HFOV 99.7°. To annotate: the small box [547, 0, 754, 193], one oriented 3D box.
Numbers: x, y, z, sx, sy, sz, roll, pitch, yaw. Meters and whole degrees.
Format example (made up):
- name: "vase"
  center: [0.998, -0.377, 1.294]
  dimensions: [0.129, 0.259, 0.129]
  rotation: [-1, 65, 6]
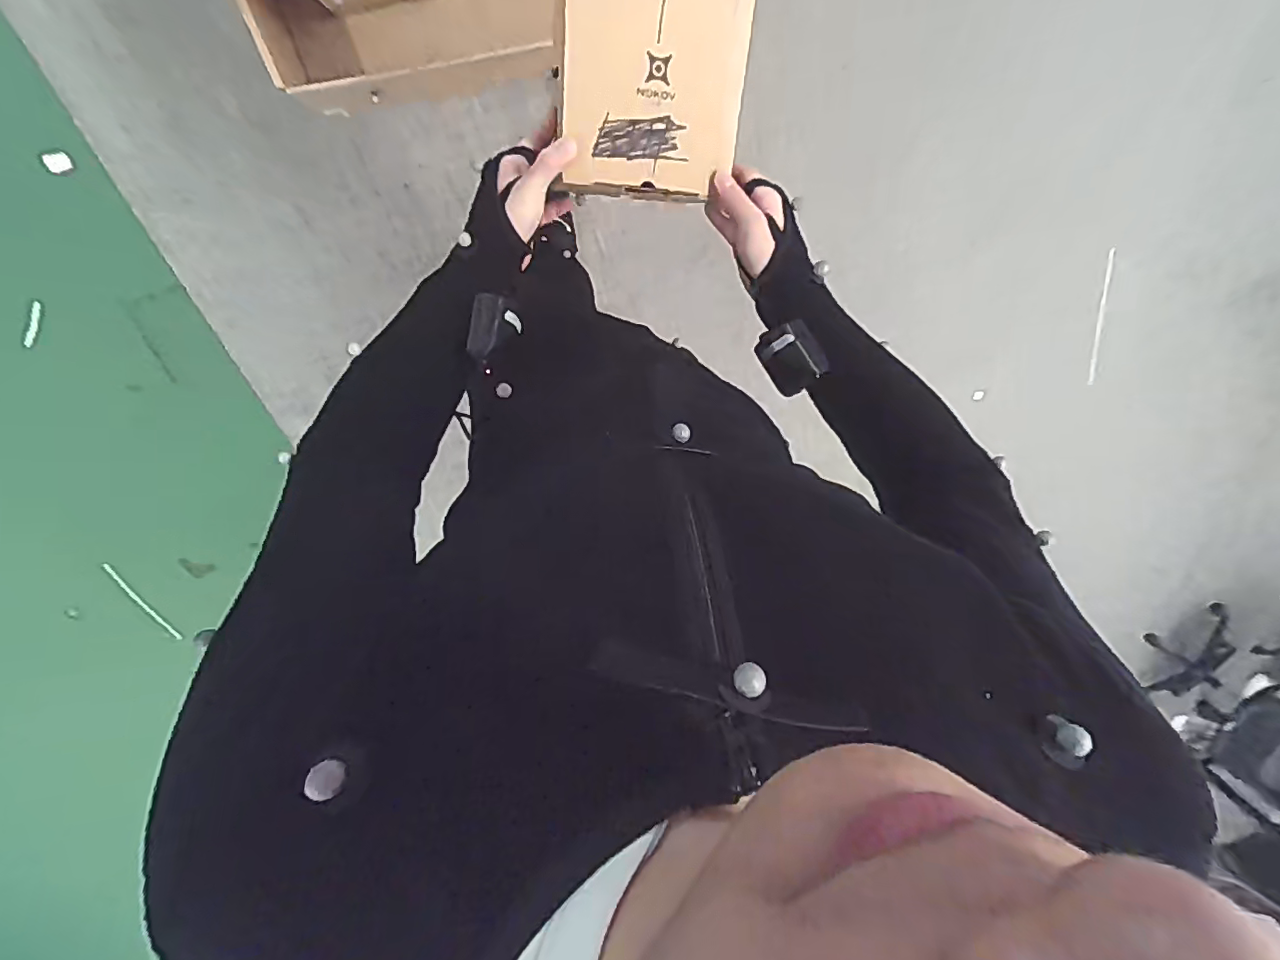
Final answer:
- name: "small box"
  center: [-0.004, -0.396, 0.541]
  dimensions: [0.168, 0.176, 0.179]
  rotation: [0, 115, -14]
